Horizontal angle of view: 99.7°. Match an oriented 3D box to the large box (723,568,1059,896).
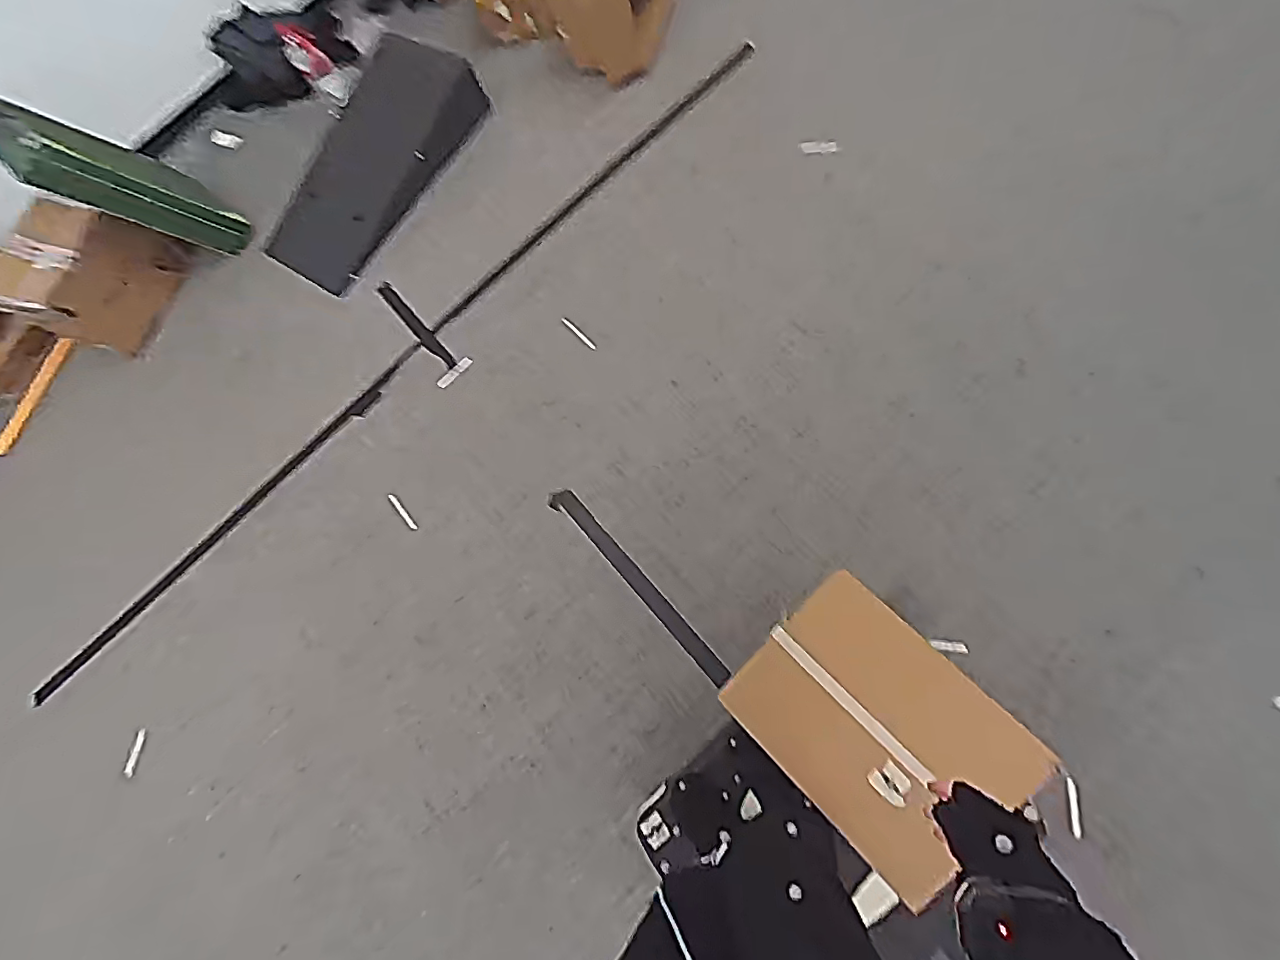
[{"bbox_3d":[0.415,0.412,1.001,0.408,0.320,0.320,44,93,19],"label":"large box"}]
